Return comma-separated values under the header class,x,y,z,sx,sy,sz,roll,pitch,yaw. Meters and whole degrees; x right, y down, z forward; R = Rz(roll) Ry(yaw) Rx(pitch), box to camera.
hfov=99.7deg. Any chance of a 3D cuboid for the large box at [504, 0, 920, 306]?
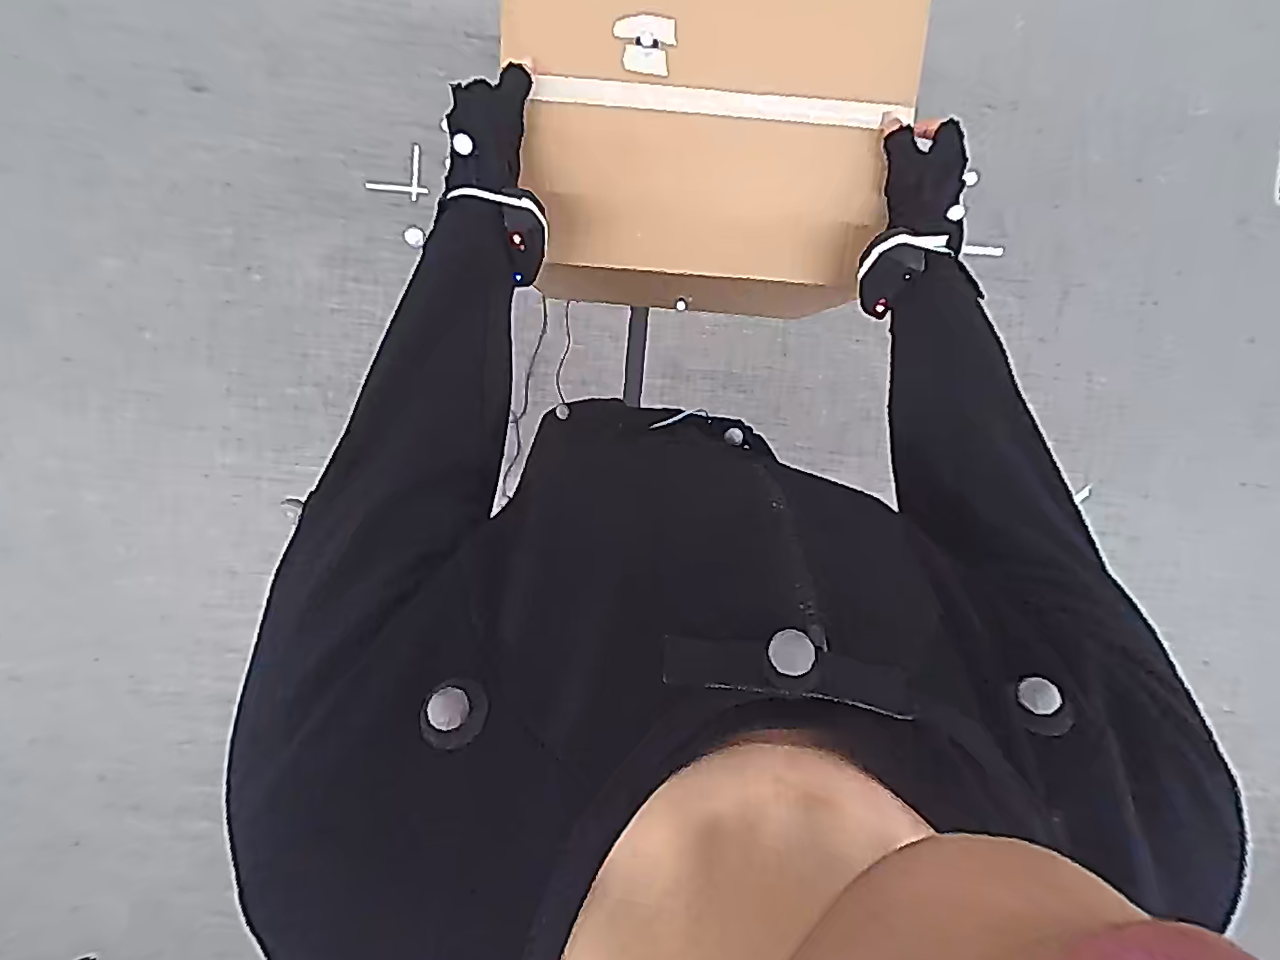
class,x,y,z,sx,sy,sz,roll,pitch,yaw
large box,0.066,-0.402,0.682,0.408,0.320,0.320,4,101,-1
